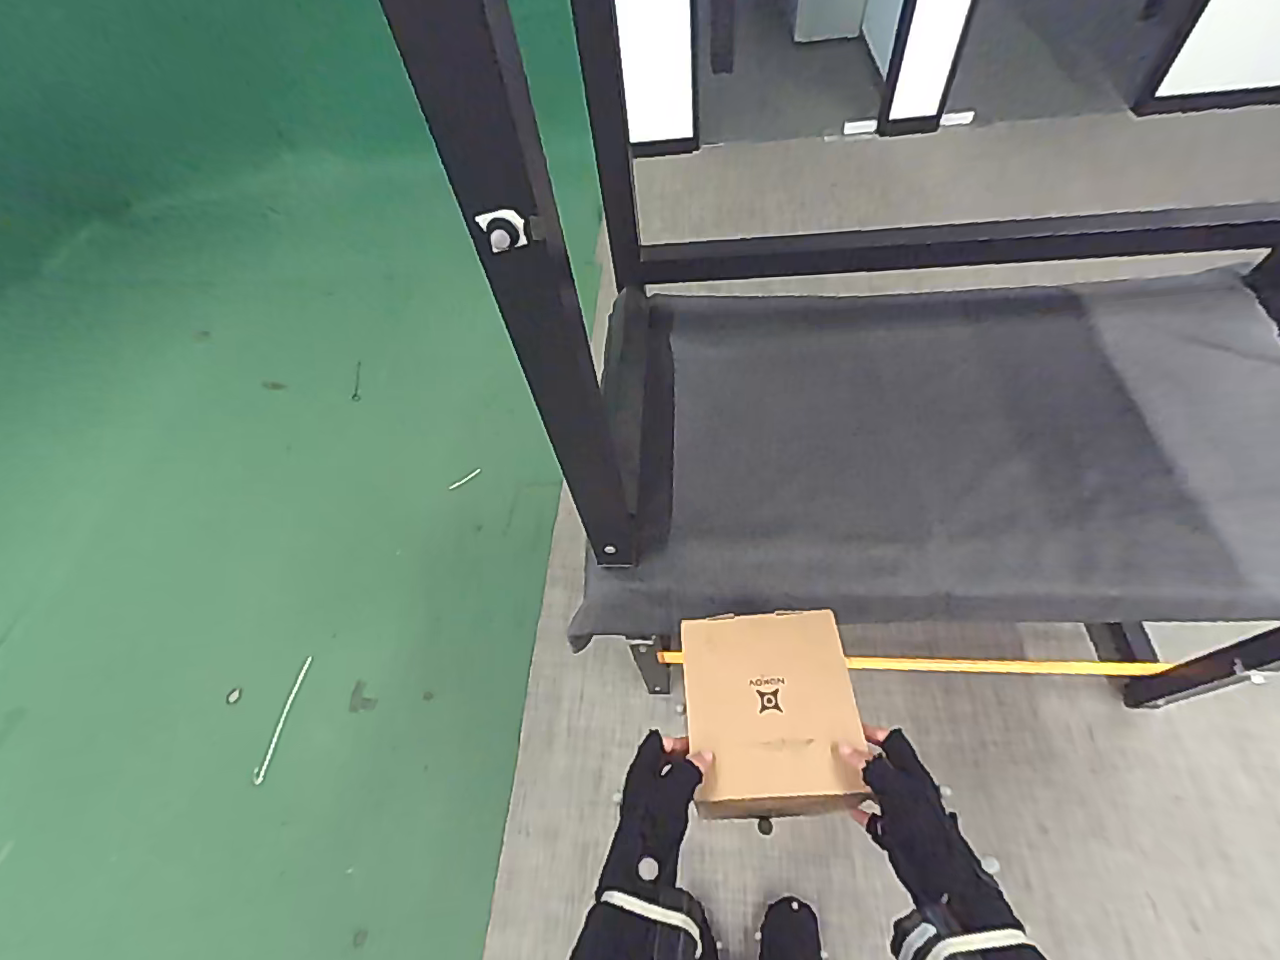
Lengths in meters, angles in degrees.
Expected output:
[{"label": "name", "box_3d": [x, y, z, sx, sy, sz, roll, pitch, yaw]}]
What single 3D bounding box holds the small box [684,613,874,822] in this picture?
[{"label": "small box", "box_3d": [0.141, 0.269, 0.607, 0.168, 0.176, 0.179, -7, 52, 6]}]
